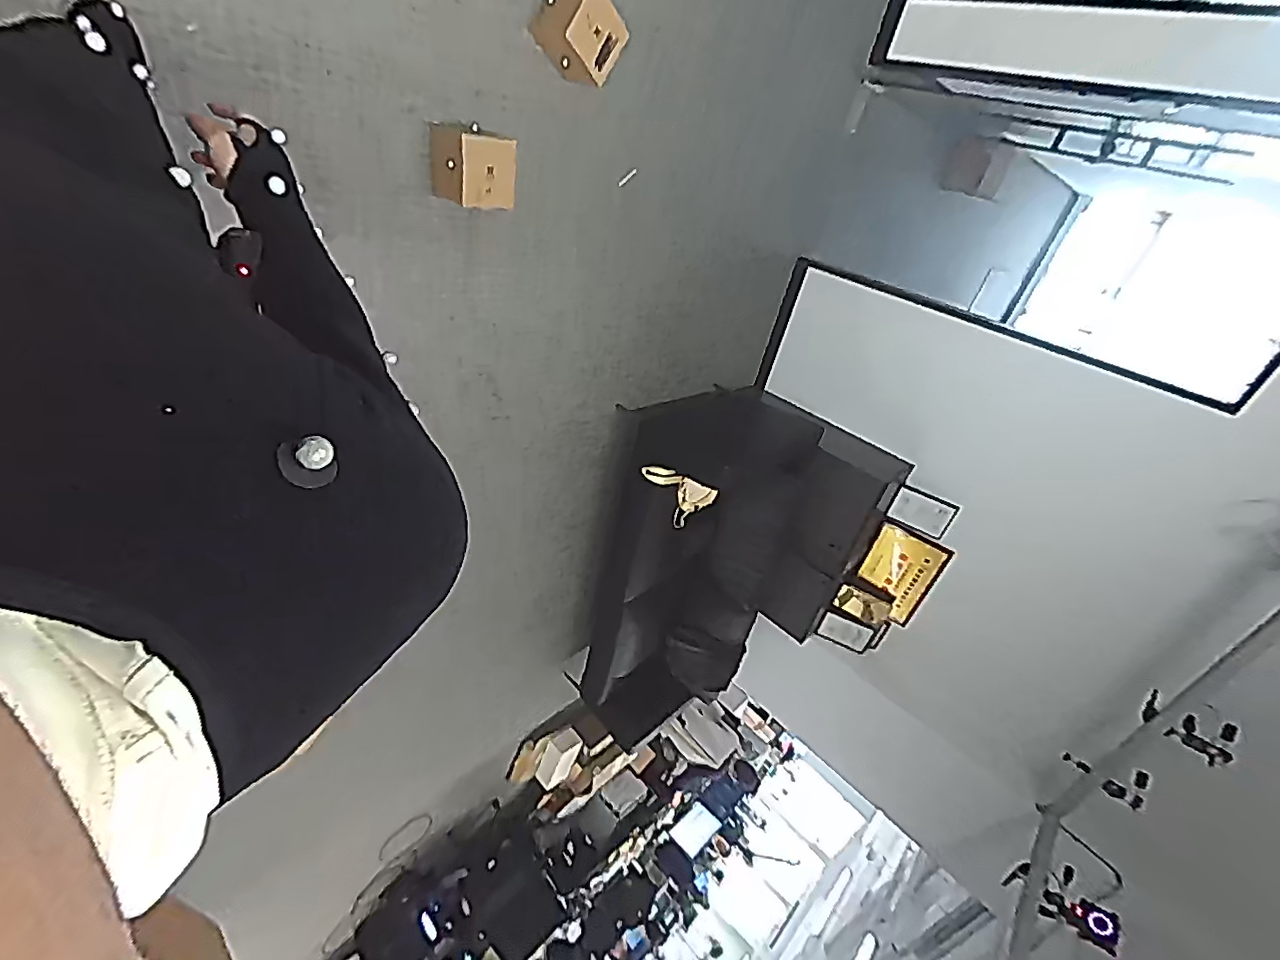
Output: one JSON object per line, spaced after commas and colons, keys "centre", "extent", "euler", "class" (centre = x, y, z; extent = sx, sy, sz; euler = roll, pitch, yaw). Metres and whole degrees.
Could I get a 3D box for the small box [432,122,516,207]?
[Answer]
{"centre": [-0.465, -0.880, 1.507], "extent": [0.168, 0.176, 0.179], "euler": [-23, 138, -40], "class": "small box"}
